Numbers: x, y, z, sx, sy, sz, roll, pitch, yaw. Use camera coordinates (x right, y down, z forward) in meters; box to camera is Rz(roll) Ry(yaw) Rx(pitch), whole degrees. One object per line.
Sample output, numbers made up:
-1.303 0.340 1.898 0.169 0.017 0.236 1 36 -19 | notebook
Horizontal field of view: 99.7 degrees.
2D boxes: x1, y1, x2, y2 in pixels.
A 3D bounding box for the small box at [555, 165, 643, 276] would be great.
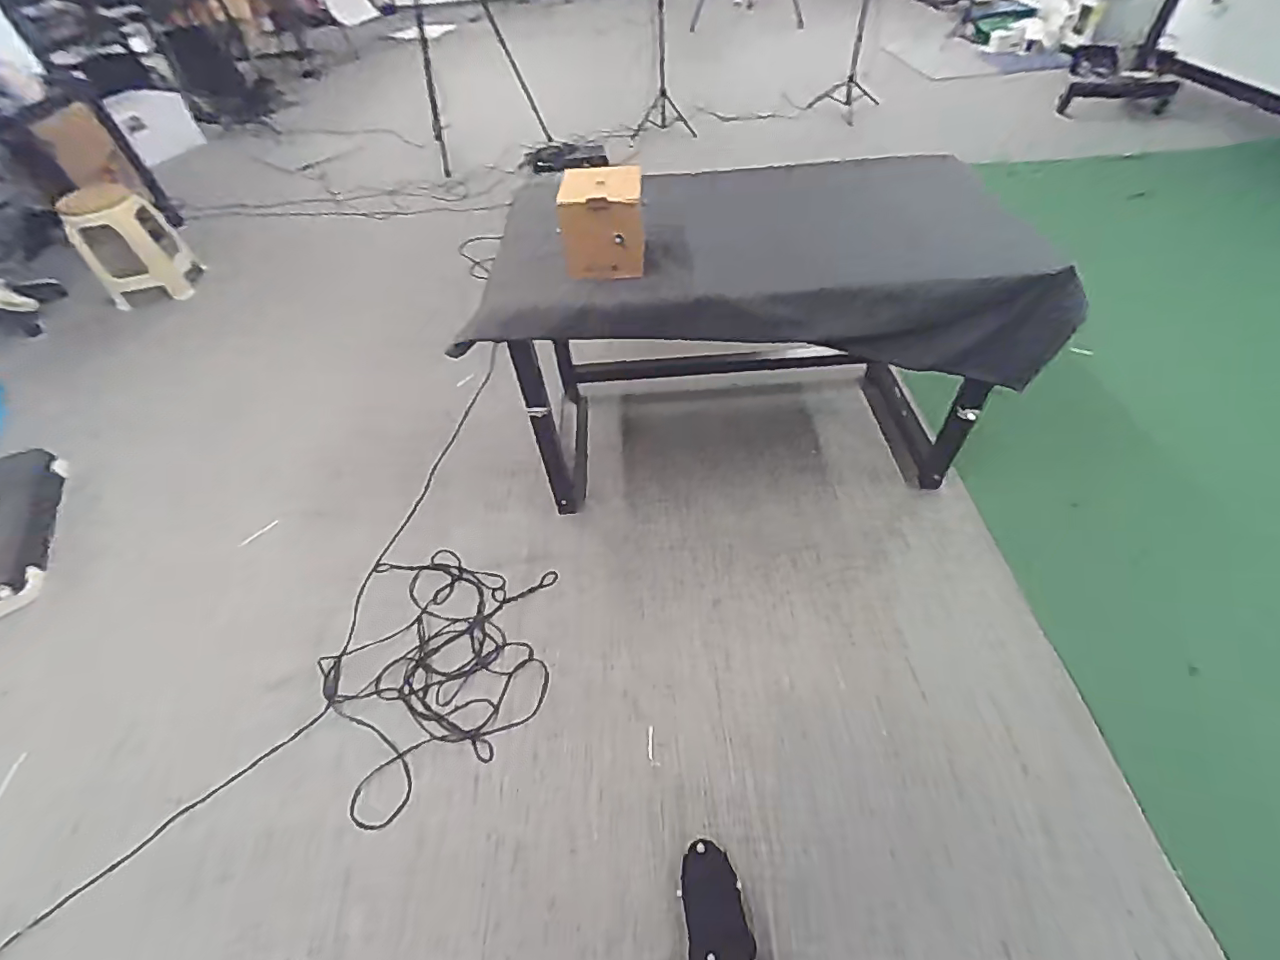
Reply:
-0.080 -0.553 1.162 0.168 0.176 0.179 0 48 2 | small box
